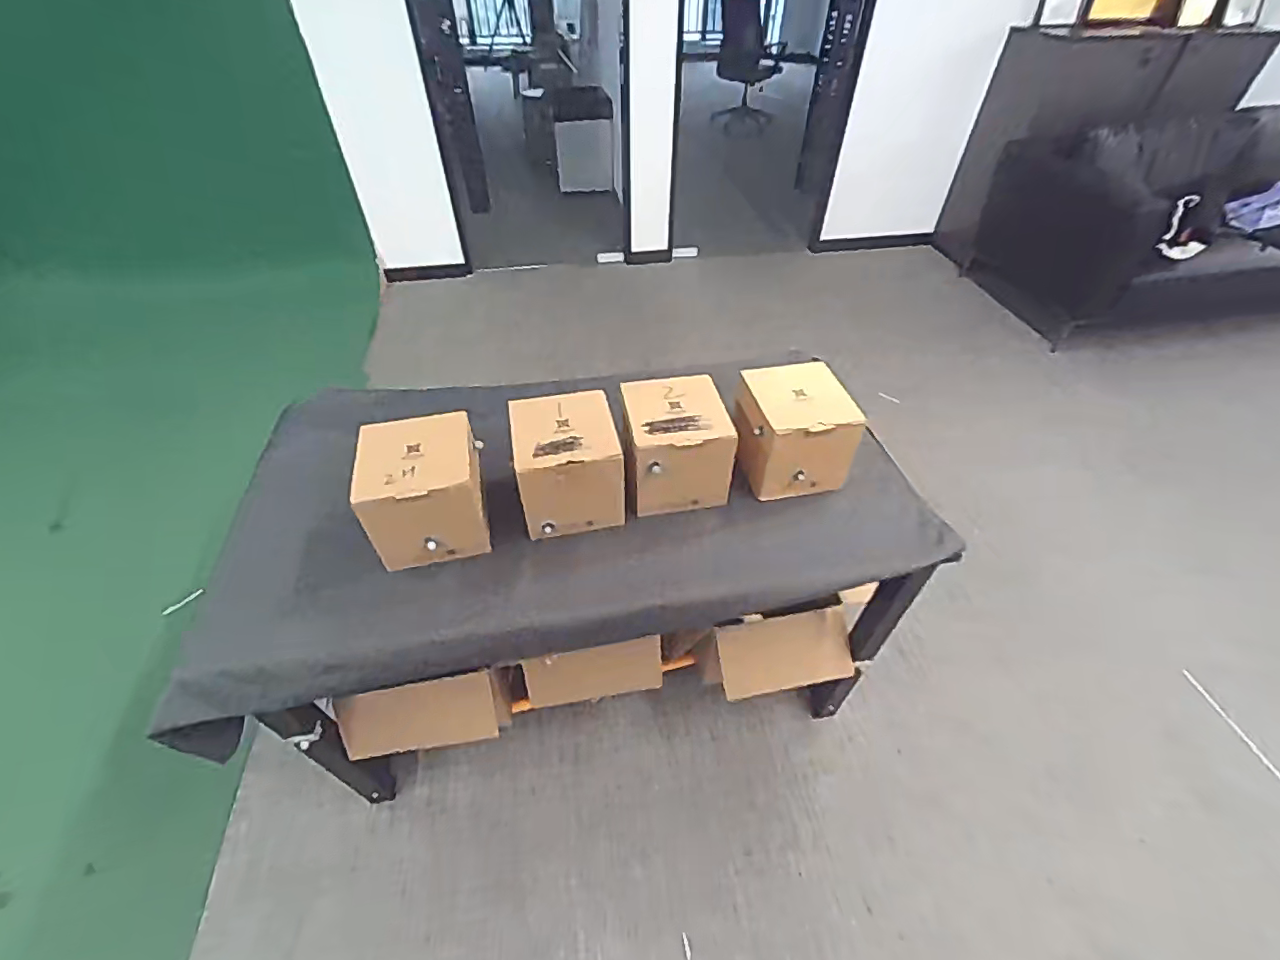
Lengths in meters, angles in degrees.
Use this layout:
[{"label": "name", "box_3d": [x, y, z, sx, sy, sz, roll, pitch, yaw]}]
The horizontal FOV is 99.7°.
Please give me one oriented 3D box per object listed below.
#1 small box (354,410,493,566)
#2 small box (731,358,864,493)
[{"label": "small box", "box_3d": [-0.345, 0.013, 0.888, 0.168, 0.176, 0.179, -11, 48, -10]}, {"label": "small box", "box_3d": [0.277, -0.101, 1.000, 0.168, 0.176, 0.179, -9, 47, -8]}]
